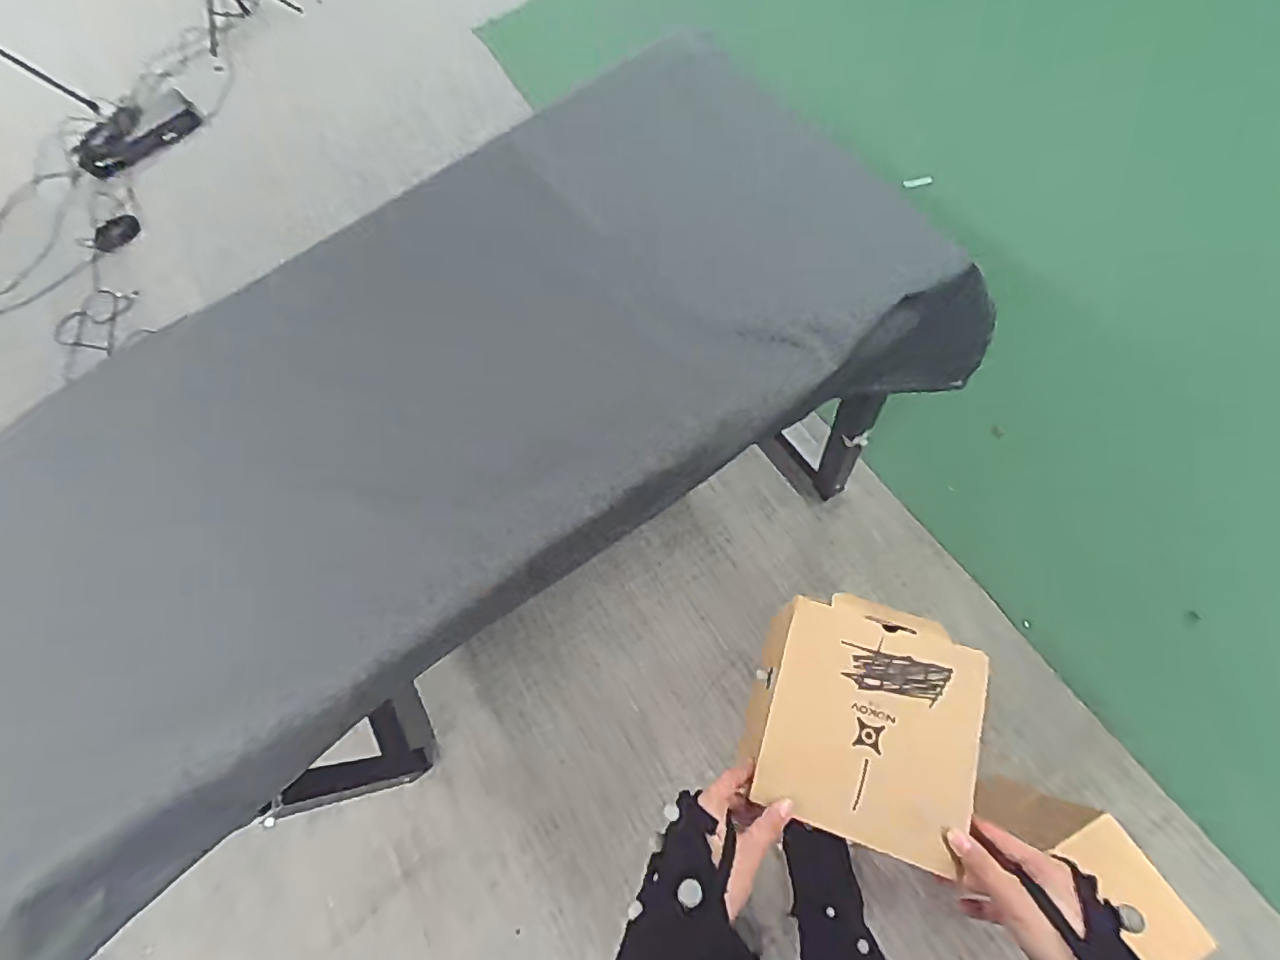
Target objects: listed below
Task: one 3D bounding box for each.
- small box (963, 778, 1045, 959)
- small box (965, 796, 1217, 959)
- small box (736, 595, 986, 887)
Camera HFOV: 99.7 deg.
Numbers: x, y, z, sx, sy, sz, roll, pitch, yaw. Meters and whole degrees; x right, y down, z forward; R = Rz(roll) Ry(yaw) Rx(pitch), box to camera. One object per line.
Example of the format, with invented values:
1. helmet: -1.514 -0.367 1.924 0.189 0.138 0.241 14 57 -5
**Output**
1. small box: 0.624 0.632 0.903 0.179 0.176 0.168 -33 67 -2
2. small box: 0.599 0.574 0.752 0.179 0.176 0.168 -31 67 -3
3. small box: 0.192 0.229 0.512 0.168 0.176 0.179 15 71 11
